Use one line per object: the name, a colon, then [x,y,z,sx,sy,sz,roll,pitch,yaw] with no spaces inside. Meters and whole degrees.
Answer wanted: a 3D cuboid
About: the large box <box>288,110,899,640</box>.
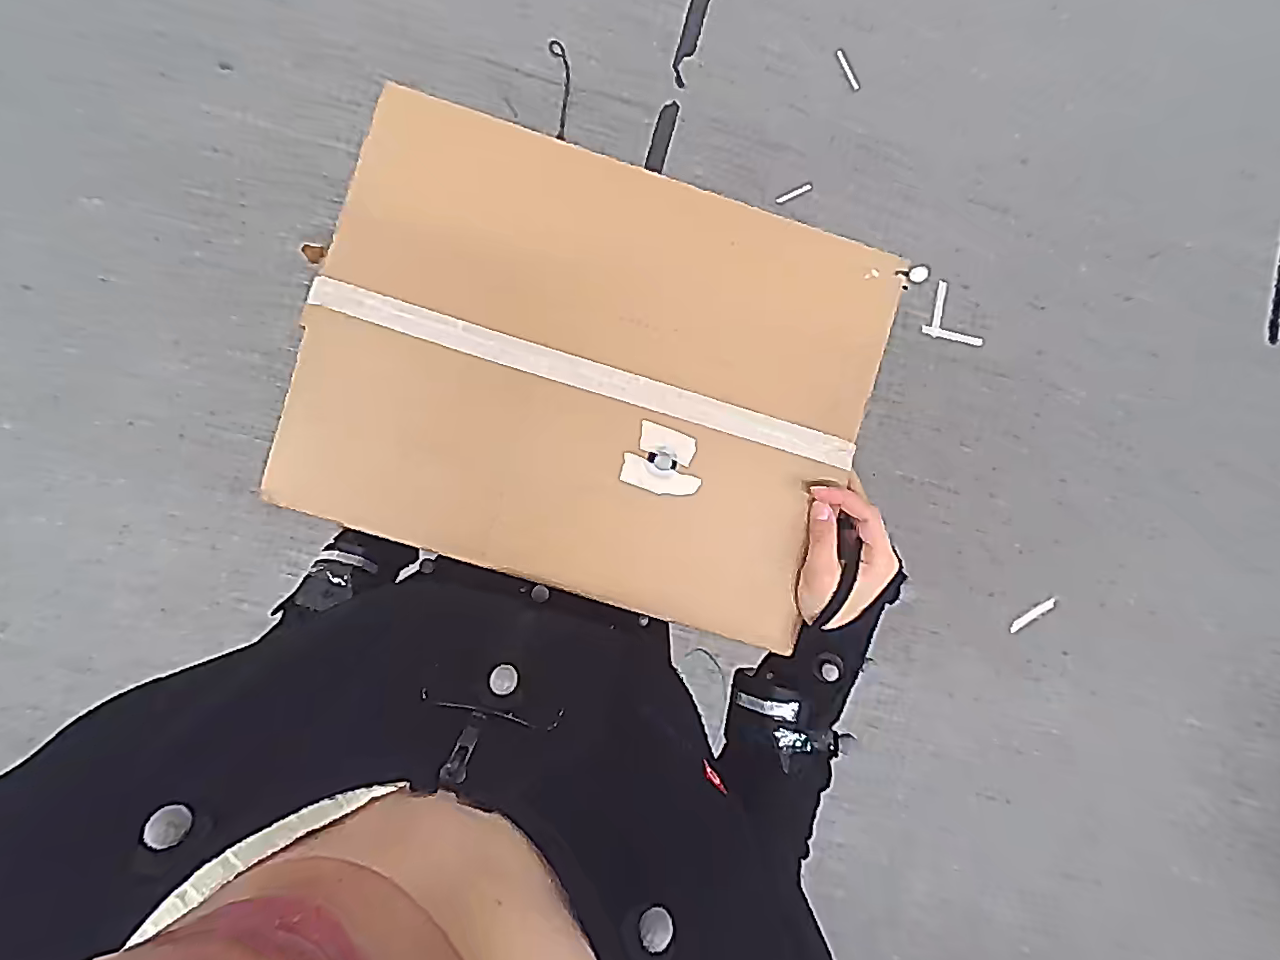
large box: [-0.039,-0.075,0.554,0.408,0.320,0.320,17,90,-4]
